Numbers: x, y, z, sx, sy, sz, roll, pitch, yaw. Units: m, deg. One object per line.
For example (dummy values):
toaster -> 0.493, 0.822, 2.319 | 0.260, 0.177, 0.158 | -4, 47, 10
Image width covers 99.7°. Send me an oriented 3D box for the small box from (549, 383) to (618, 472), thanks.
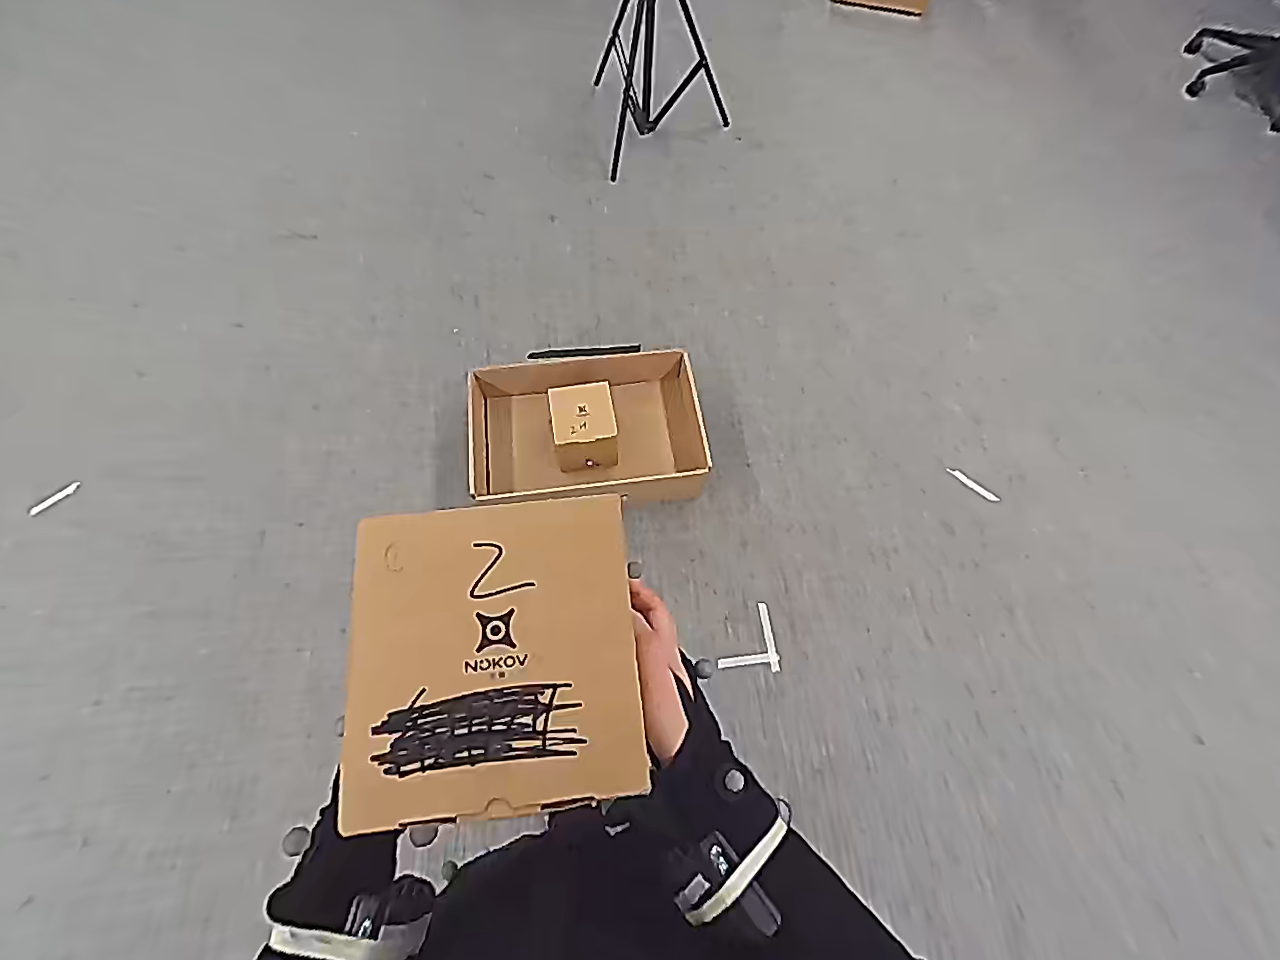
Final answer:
small box -> -0.156, -0.143, 1.495 | 0.168, 0.176, 0.179 | -9, 66, -6
